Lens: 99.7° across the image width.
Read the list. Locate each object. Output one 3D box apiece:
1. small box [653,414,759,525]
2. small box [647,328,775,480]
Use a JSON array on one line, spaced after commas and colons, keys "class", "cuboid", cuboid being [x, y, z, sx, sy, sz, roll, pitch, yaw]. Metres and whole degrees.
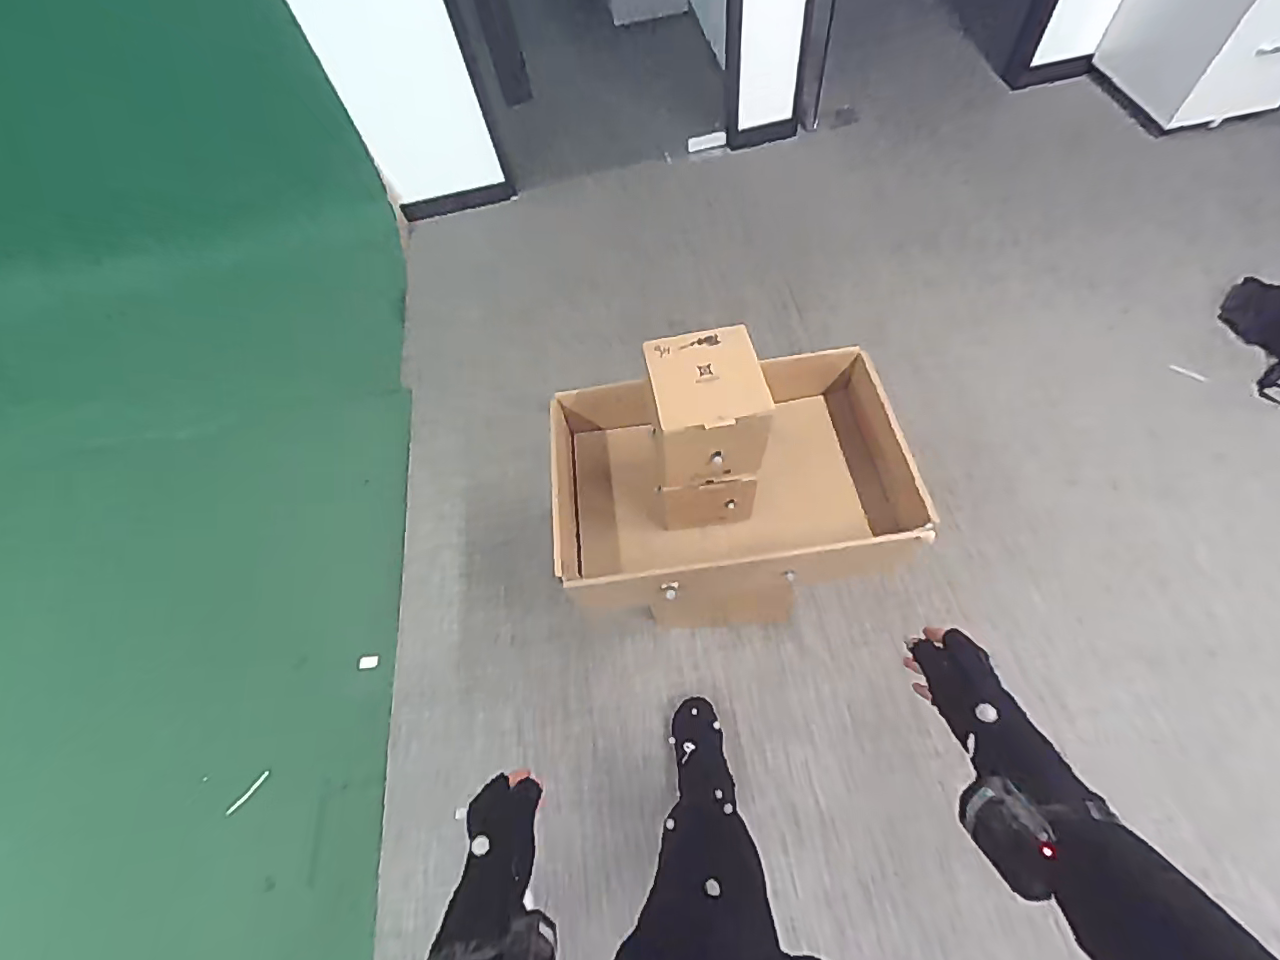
[{"class": "small box", "cuboid": [0.120, -0.026, 1.017, 0.168, 0.176, 0.179, -8, 59, 0]}, {"class": "small box", "cuboid": [0.108, -0.113, 0.878, 0.168, 0.176, 0.179, -10, 61, -1]}]
